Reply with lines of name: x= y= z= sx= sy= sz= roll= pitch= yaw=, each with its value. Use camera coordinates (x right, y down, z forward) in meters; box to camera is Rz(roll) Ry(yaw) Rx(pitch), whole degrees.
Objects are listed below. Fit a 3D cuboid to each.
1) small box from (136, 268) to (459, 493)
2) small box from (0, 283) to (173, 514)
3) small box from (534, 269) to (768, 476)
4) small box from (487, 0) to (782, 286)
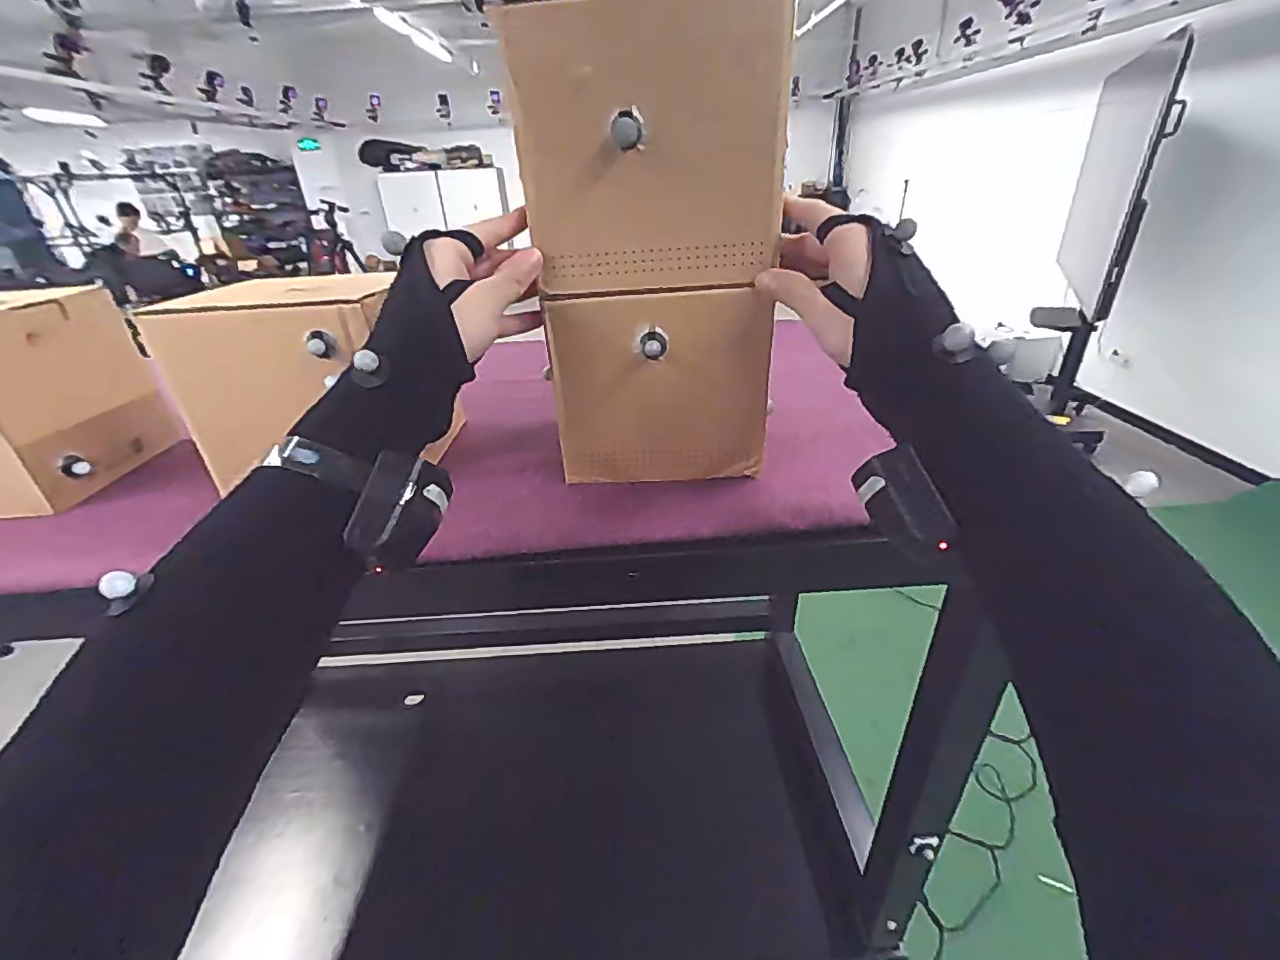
small box: x=-0.291 y=-0.097 z=0.510 sx=0.179 sy=0.176 sz=0.168 roll=-3 pitch=29 yaw=-1
small box: x=-0.599 y=-0.074 z=0.499 sx=0.179 sy=0.176 sz=0.168 roll=-5 pitch=29 yaw=-2
small box: x=0.016 y=-0.113 z=0.500 sx=0.179 sy=0.176 sz=0.168 roll=-2 pitch=33 yaw=3
small box: x=0.006 y=-0.251 z=0.414 sx=0.179 sy=0.176 sz=0.168 roll=-4 pitch=33 yaw=4
